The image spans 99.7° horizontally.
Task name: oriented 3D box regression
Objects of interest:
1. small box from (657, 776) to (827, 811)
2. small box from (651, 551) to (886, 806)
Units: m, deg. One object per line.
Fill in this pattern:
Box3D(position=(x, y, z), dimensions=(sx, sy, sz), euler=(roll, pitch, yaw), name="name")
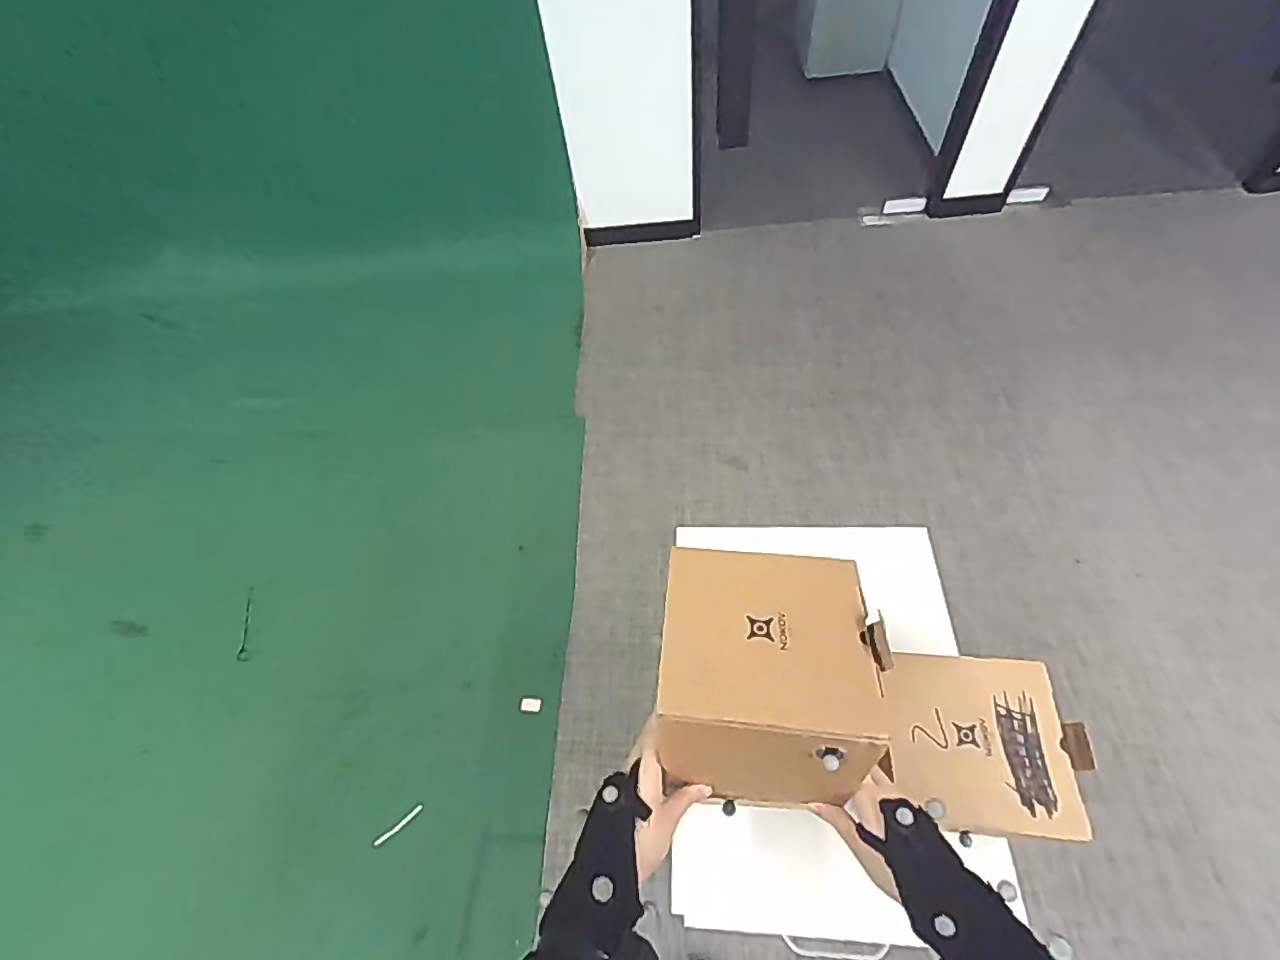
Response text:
Box3D(position=(0.115, 0.298, 0.654), dimensions=(0.179, 0.176, 0.168), euler=(0, 58, 5), name="small box")
Box3D(position=(0.106, 0.188, 0.512), dimensions=(0.179, 0.176, 0.168), euler=(4, 45, 5), name="small box")
